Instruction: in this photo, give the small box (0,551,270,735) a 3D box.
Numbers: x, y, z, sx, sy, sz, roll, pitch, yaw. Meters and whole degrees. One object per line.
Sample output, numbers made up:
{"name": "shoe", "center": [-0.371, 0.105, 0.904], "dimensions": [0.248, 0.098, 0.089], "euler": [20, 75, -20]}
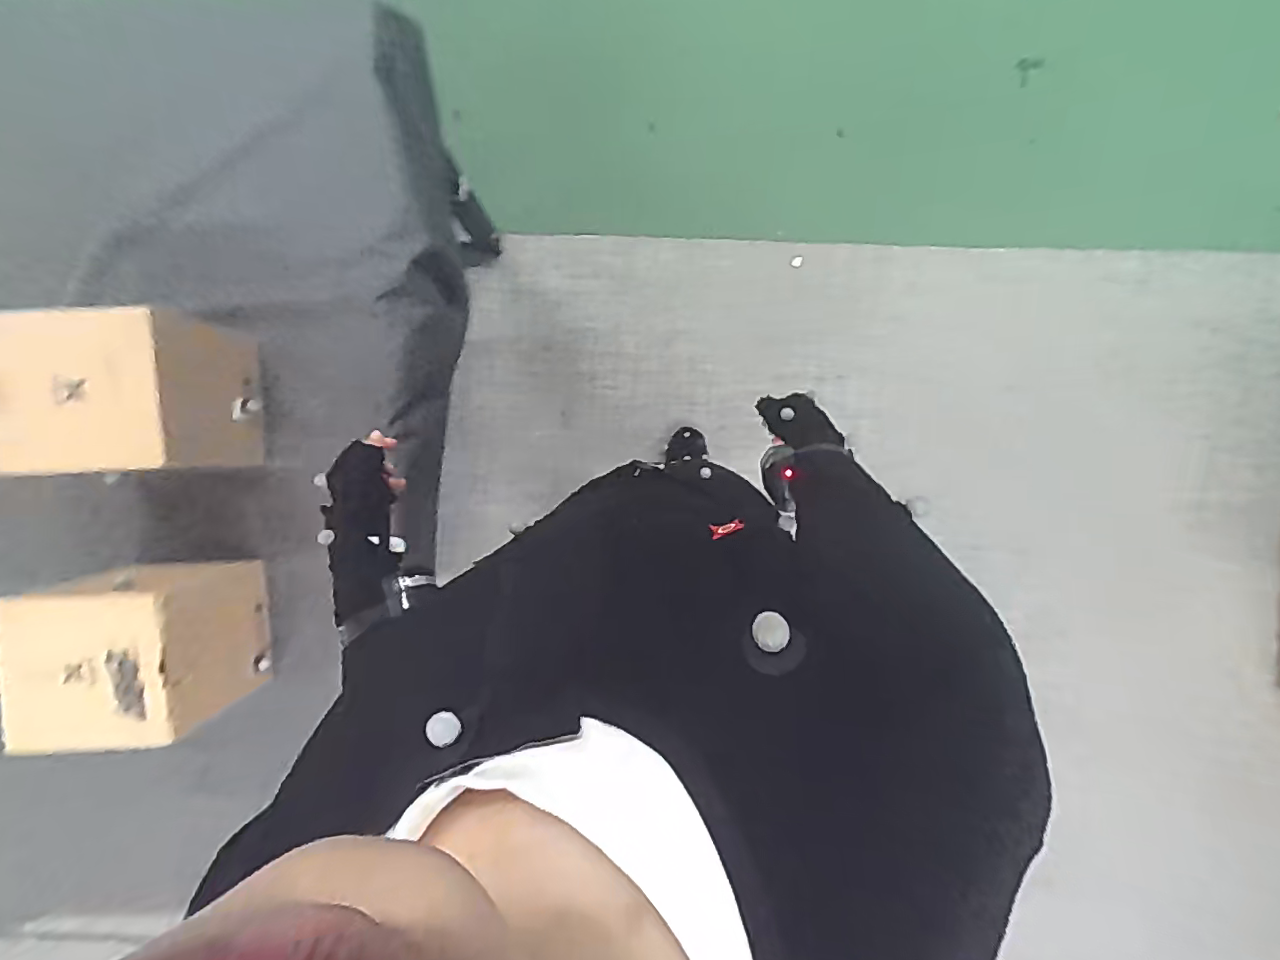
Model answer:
{"name": "small box", "center": [-0.584, 0.184, 0.654], "dimensions": [0.179, 0.176, 0.168], "euler": [-3, 94, 0]}
